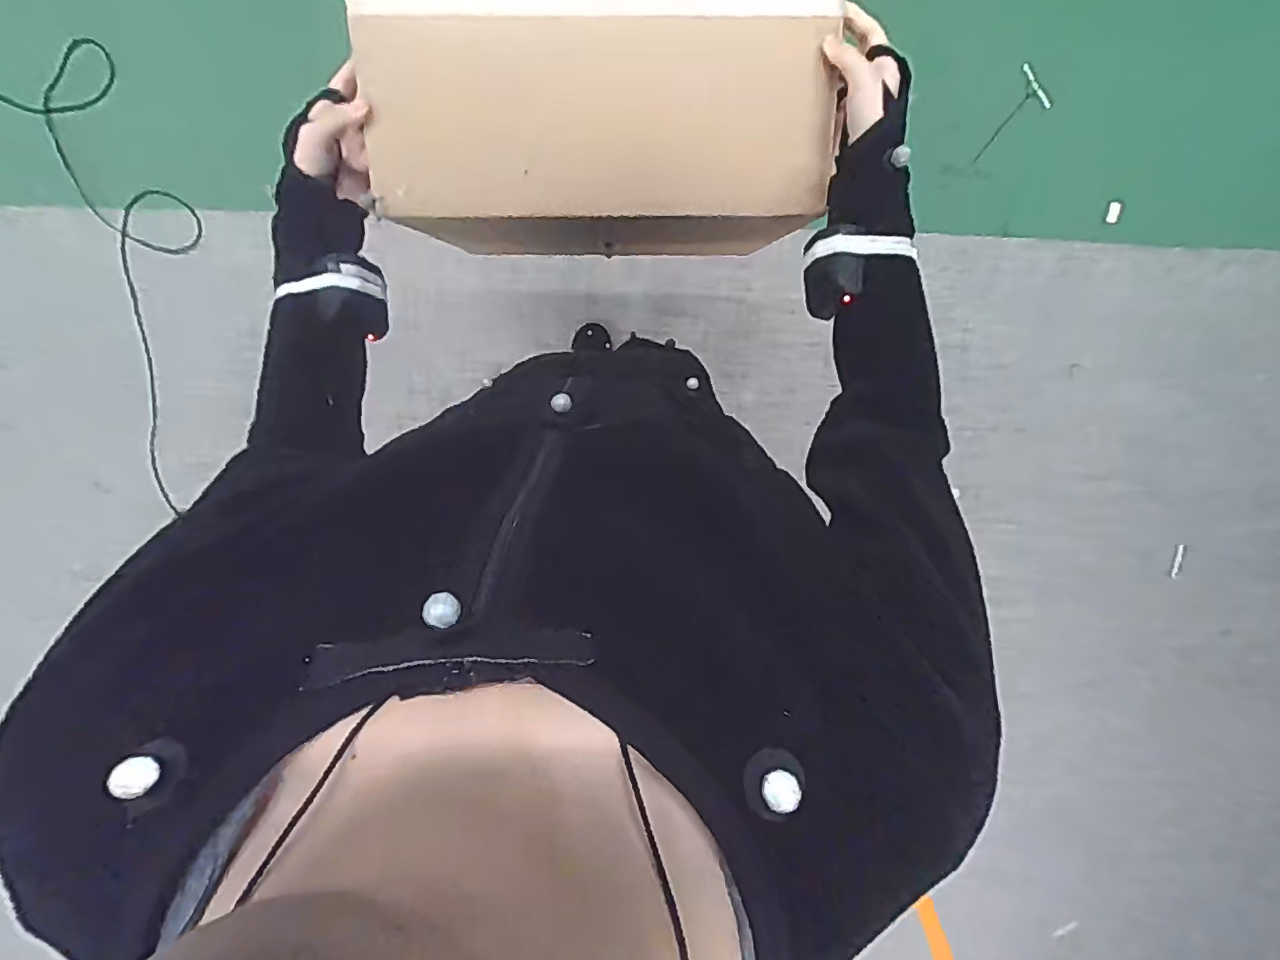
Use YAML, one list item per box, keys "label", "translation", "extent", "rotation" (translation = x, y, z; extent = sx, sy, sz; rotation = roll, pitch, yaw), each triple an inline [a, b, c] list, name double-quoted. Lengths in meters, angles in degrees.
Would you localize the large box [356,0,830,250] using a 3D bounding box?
- label: "large box"
  translation: [-0.038, -0.434, 0.594]
  extent: [0.408, 0.320, 0.320]
  rotation: [-1, 107, -1]
